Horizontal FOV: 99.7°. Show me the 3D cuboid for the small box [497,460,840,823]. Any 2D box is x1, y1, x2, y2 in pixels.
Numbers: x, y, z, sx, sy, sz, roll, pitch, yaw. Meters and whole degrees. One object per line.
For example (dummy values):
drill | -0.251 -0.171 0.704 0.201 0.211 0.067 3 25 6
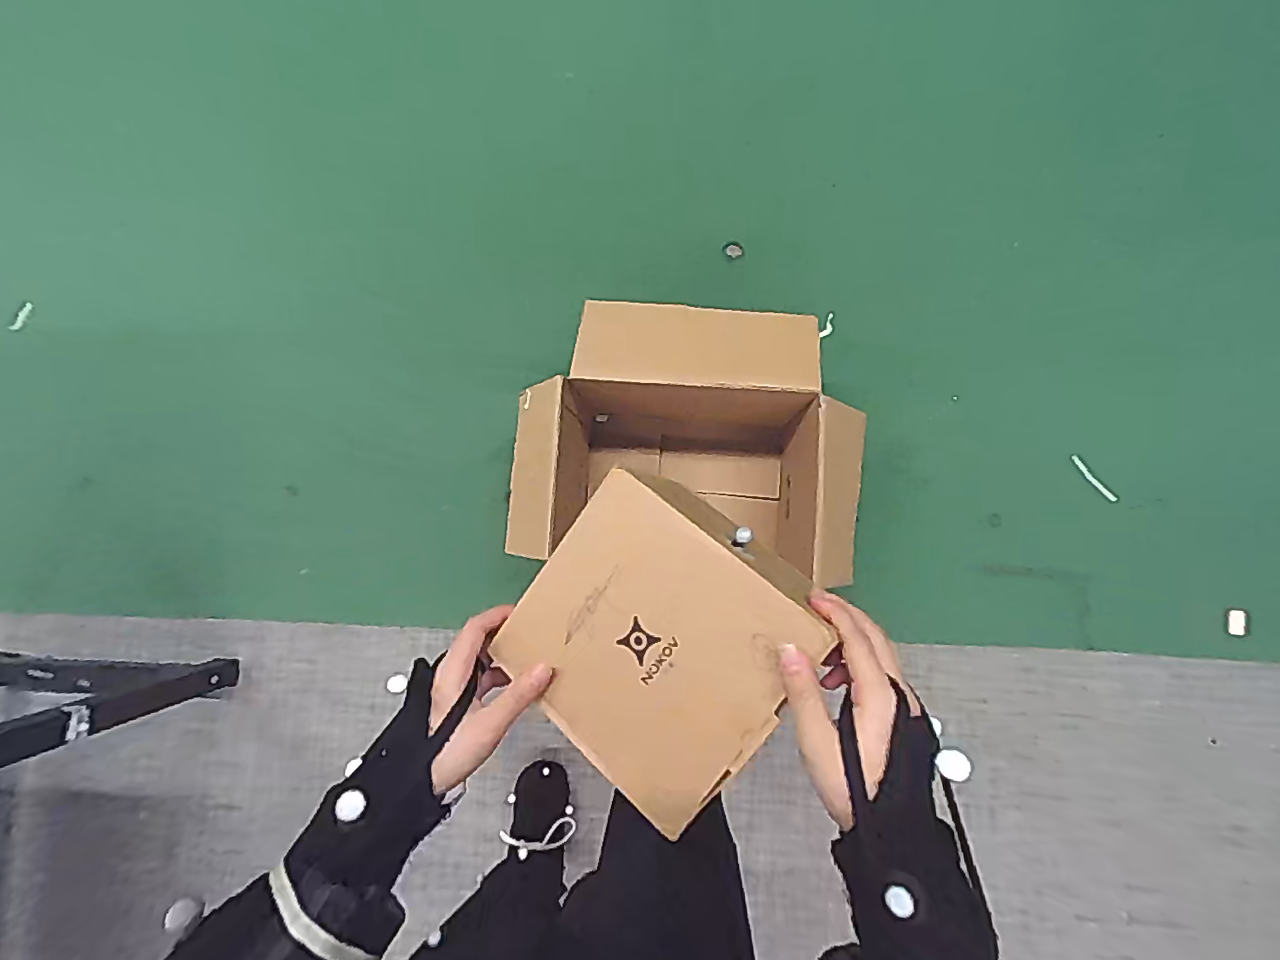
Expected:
small box | 0.034 0.105 0.423 0.179 0.176 0.168 37 97 19
